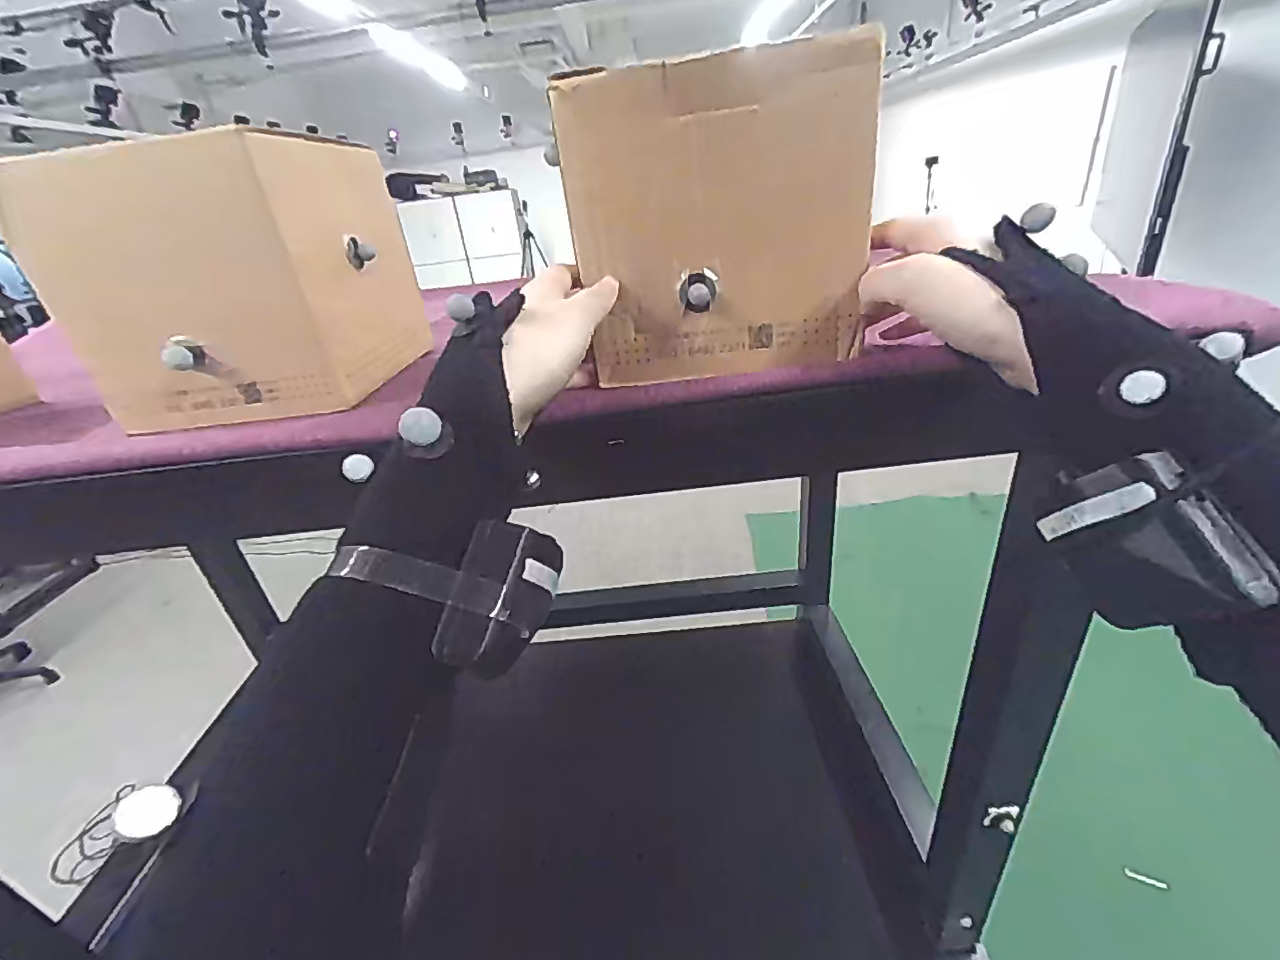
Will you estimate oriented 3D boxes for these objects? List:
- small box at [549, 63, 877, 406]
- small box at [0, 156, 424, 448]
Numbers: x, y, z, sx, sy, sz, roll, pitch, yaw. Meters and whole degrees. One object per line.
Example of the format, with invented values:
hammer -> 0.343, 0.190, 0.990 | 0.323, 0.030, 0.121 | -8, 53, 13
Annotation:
small box -> 0.047, -0.162, 0.377 | 0.168, 0.176, 0.179 | -5, 30, 6
small box -> -0.287, -0.138, 0.413 | 0.168, 0.176, 0.179 | -6, 29, 4
